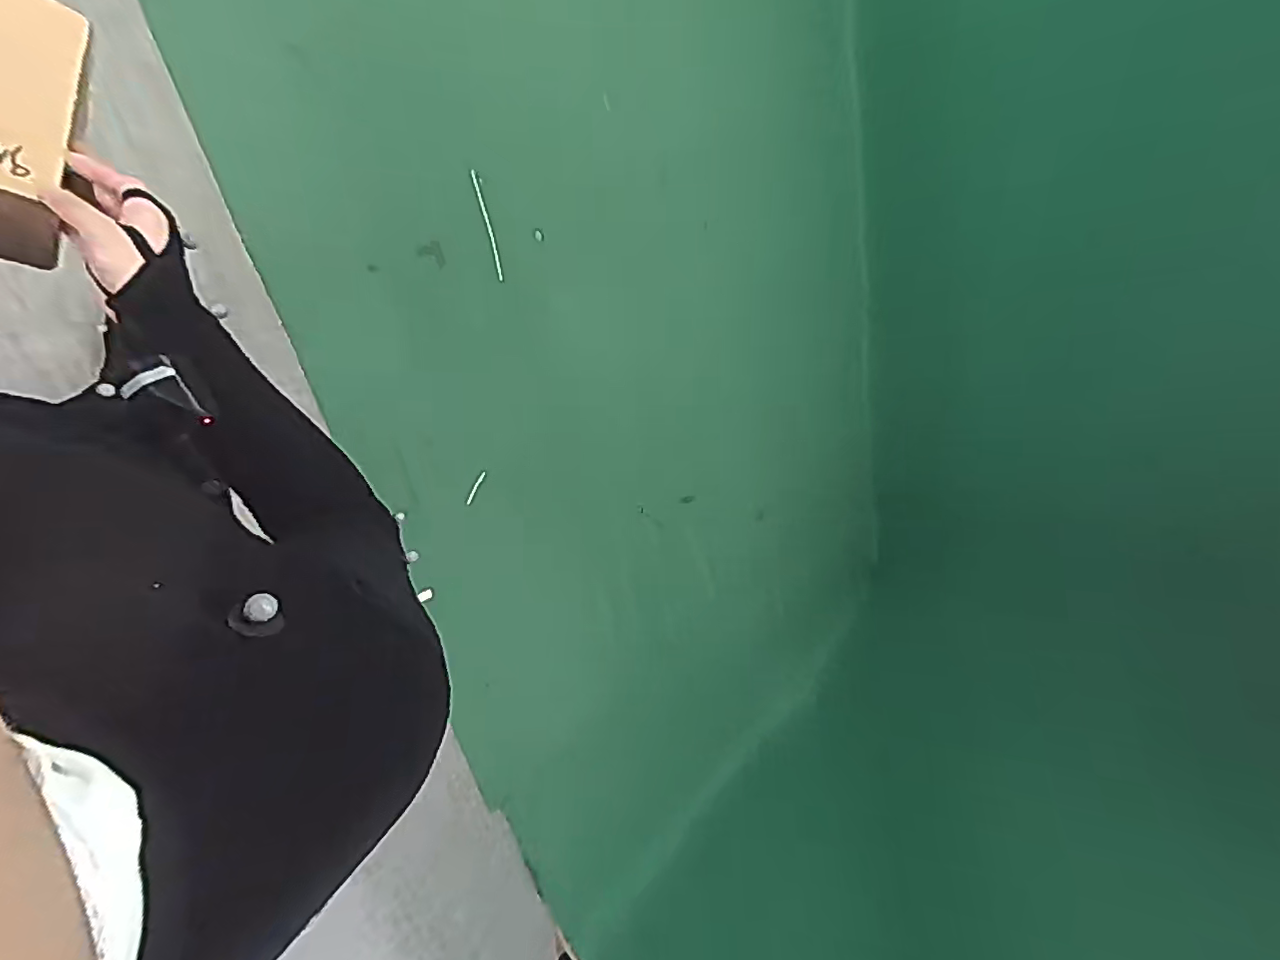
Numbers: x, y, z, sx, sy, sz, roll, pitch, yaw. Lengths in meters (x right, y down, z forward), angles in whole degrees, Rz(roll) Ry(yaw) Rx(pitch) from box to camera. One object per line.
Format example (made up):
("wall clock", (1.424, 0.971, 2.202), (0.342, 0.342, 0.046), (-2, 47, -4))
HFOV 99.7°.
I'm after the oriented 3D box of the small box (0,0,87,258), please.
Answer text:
("small box", (-0.584, -0.317, 0.440), (0.168, 0.176, 0.179), (9, 80, -46))
